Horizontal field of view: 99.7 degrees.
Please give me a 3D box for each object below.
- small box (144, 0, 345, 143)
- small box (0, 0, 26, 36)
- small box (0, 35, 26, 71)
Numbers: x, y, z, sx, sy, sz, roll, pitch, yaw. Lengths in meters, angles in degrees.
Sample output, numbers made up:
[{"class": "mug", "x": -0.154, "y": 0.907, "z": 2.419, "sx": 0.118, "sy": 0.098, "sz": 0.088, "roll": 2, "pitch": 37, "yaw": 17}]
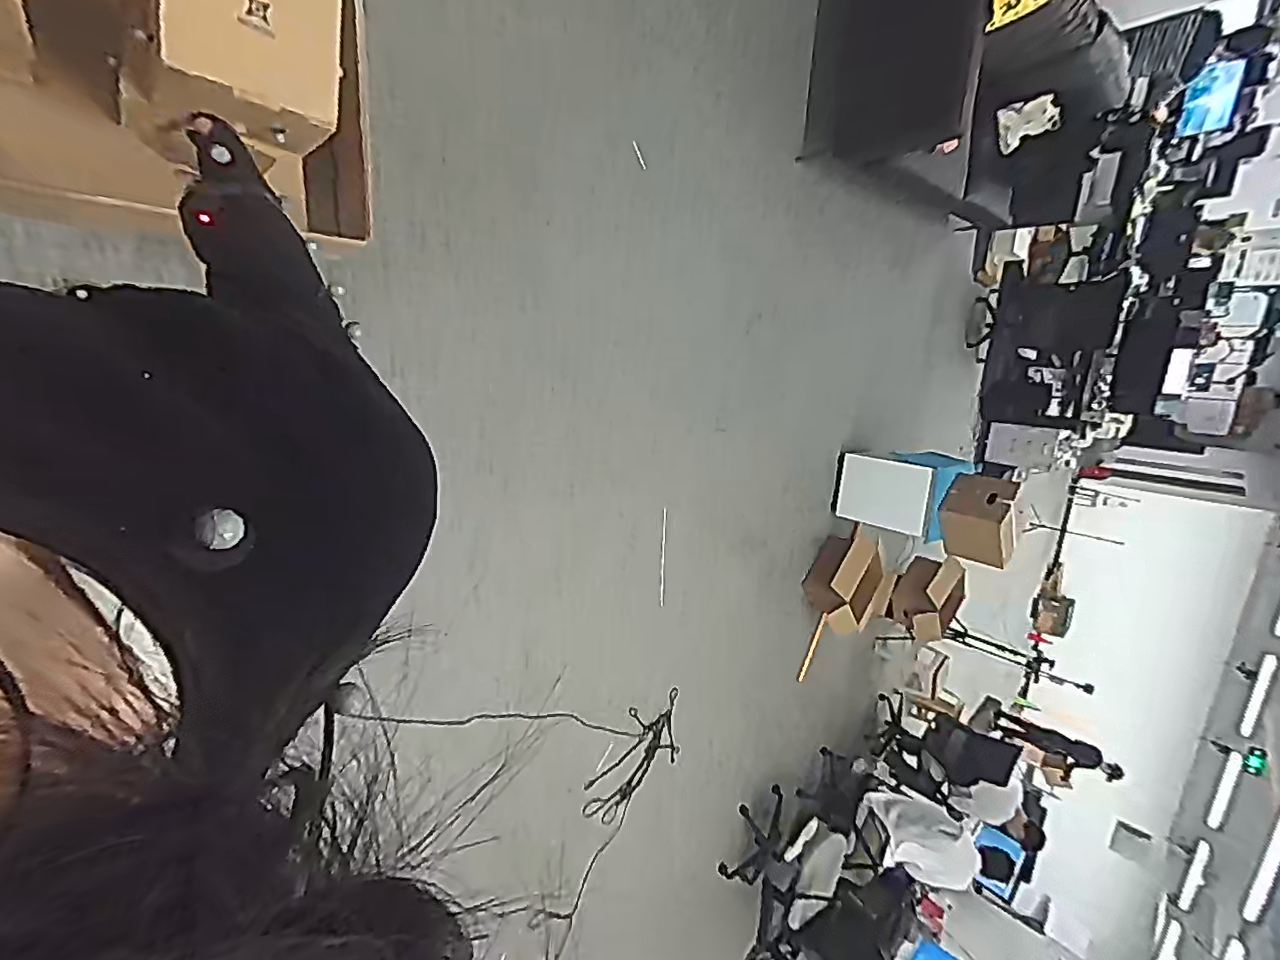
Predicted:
[{"class": "small box", "x": -0.466, "y": -0.532, "z": 0.637, "sx": 0.168, "sy": 0.176, "sz": 0.179, "roll": -1, "pitch": 103, "yaw": -46}, {"class": "small box", "x": -0.655, "y": -0.518, "z": 0.448, "sx": 0.168, "sy": 0.176, "sz": 0.179, "roll": -13, "pitch": 112, "yaw": -43}, {"class": "small box", "x": -0.774, "y": -0.566, "z": 0.552, "sx": 0.168, "sy": 0.176, "sz": 0.179, "roll": -13, "pitch": 111, "yaw": -42}]
